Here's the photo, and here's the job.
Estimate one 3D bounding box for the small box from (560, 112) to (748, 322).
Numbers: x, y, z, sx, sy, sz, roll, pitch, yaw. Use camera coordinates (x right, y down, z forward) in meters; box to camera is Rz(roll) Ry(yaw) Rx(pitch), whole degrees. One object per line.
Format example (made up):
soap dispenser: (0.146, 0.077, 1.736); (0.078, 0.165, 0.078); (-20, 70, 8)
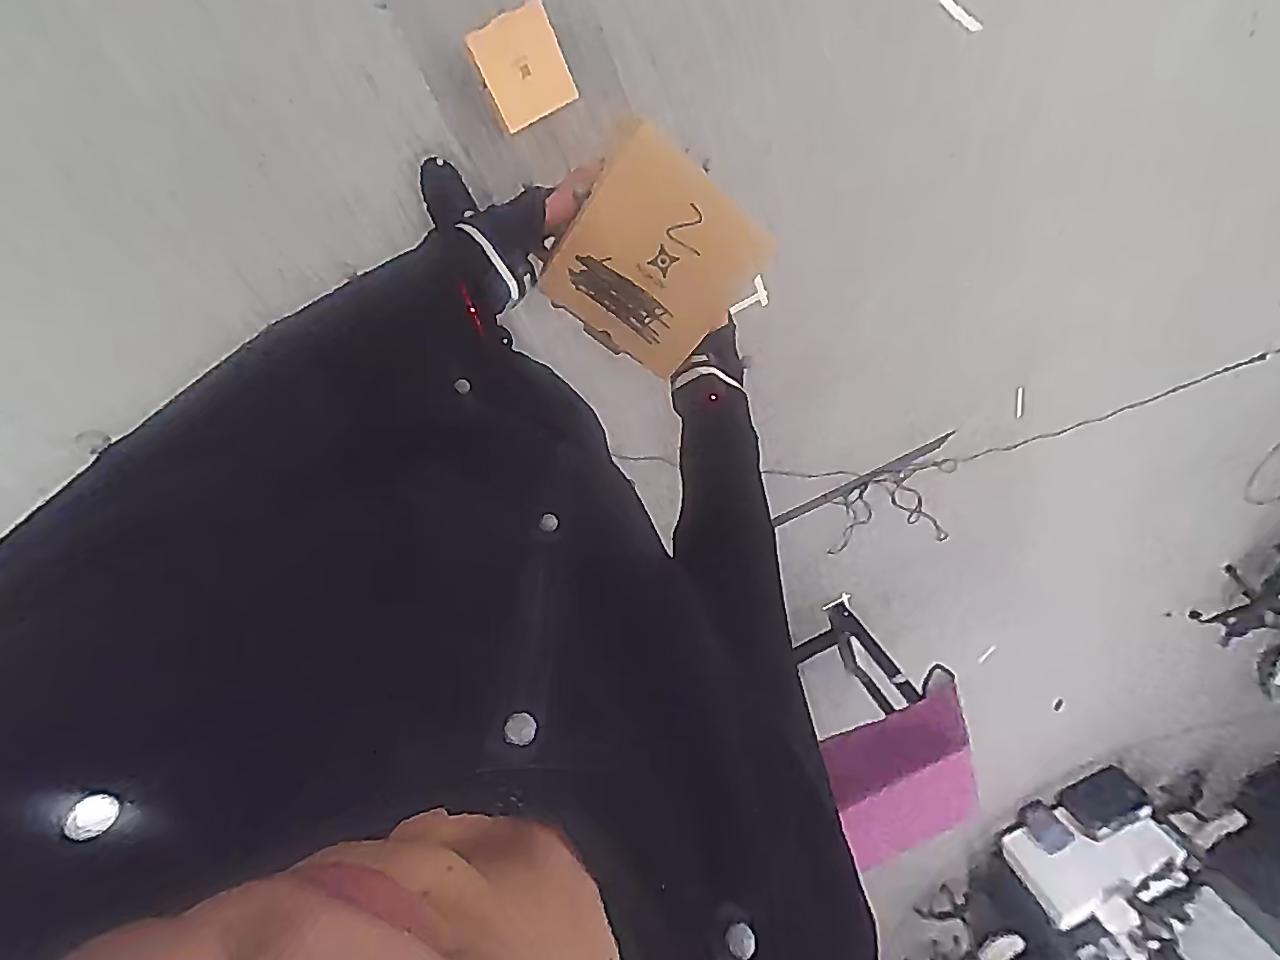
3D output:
small box: (0.009, -0.347, 0.708); (0.168, 0.176, 0.179); (27, 120, -21)

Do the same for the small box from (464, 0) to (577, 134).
small box: (-0.251, -0.863, 1.143); (0.168, 0.176, 0.179); (-28, 123, 1)
